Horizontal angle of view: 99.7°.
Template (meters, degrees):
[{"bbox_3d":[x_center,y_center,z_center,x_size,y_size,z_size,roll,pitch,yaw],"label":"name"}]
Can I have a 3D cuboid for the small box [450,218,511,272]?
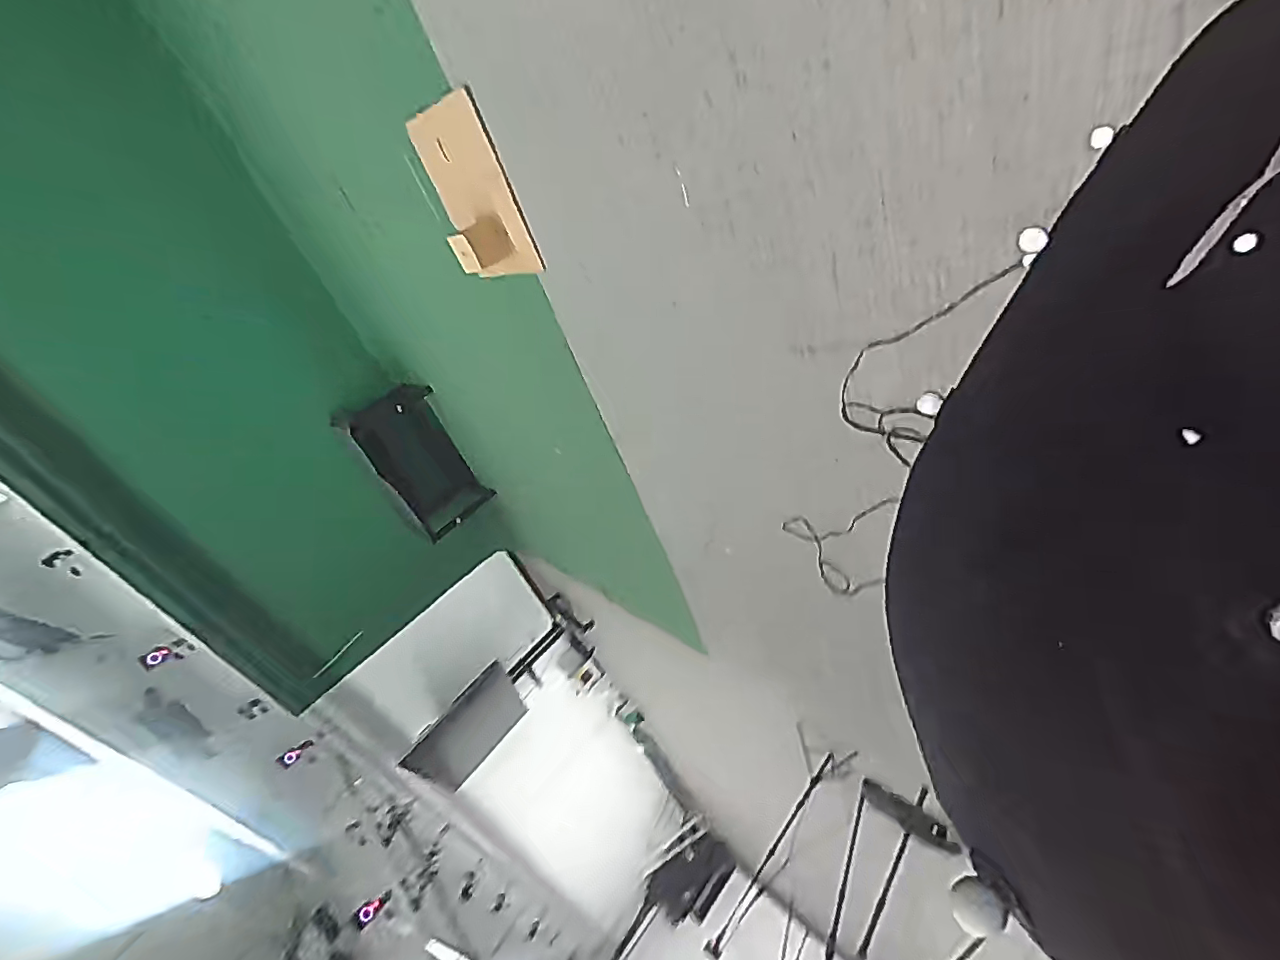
[{"bbox_3d":[-0.715,-1.058,2.433,0.179,0.176,0.168,17,141,46],"label":"small box"}]
